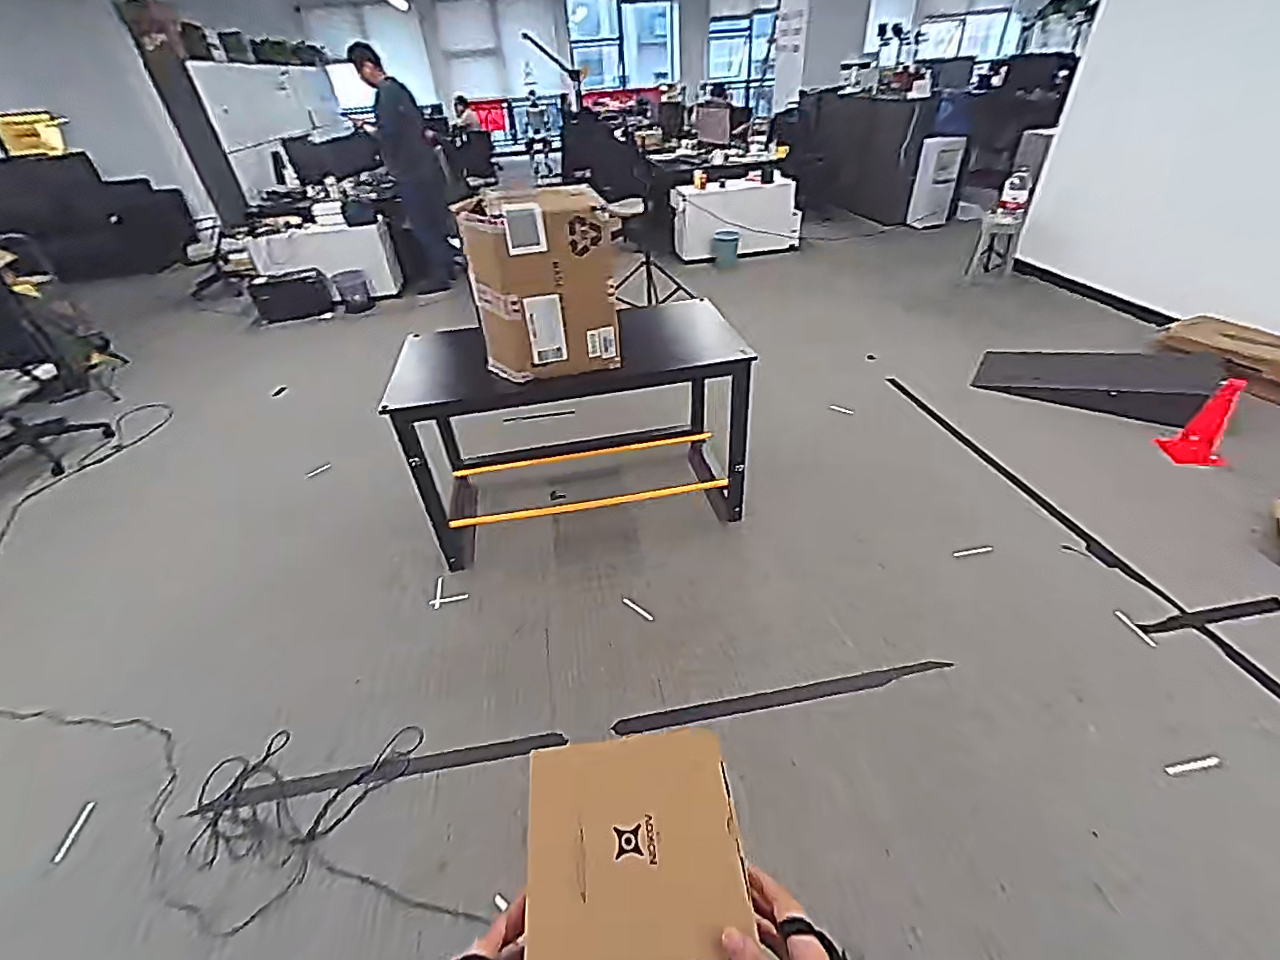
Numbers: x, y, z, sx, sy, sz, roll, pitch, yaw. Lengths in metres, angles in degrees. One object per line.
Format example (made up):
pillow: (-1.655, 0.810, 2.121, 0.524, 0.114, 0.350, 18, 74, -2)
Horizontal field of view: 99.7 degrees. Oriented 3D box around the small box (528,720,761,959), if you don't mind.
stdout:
small box: (-0.001, 0.351, 0.507, 0.179, 0.176, 0.168, -8, 44, -3)
